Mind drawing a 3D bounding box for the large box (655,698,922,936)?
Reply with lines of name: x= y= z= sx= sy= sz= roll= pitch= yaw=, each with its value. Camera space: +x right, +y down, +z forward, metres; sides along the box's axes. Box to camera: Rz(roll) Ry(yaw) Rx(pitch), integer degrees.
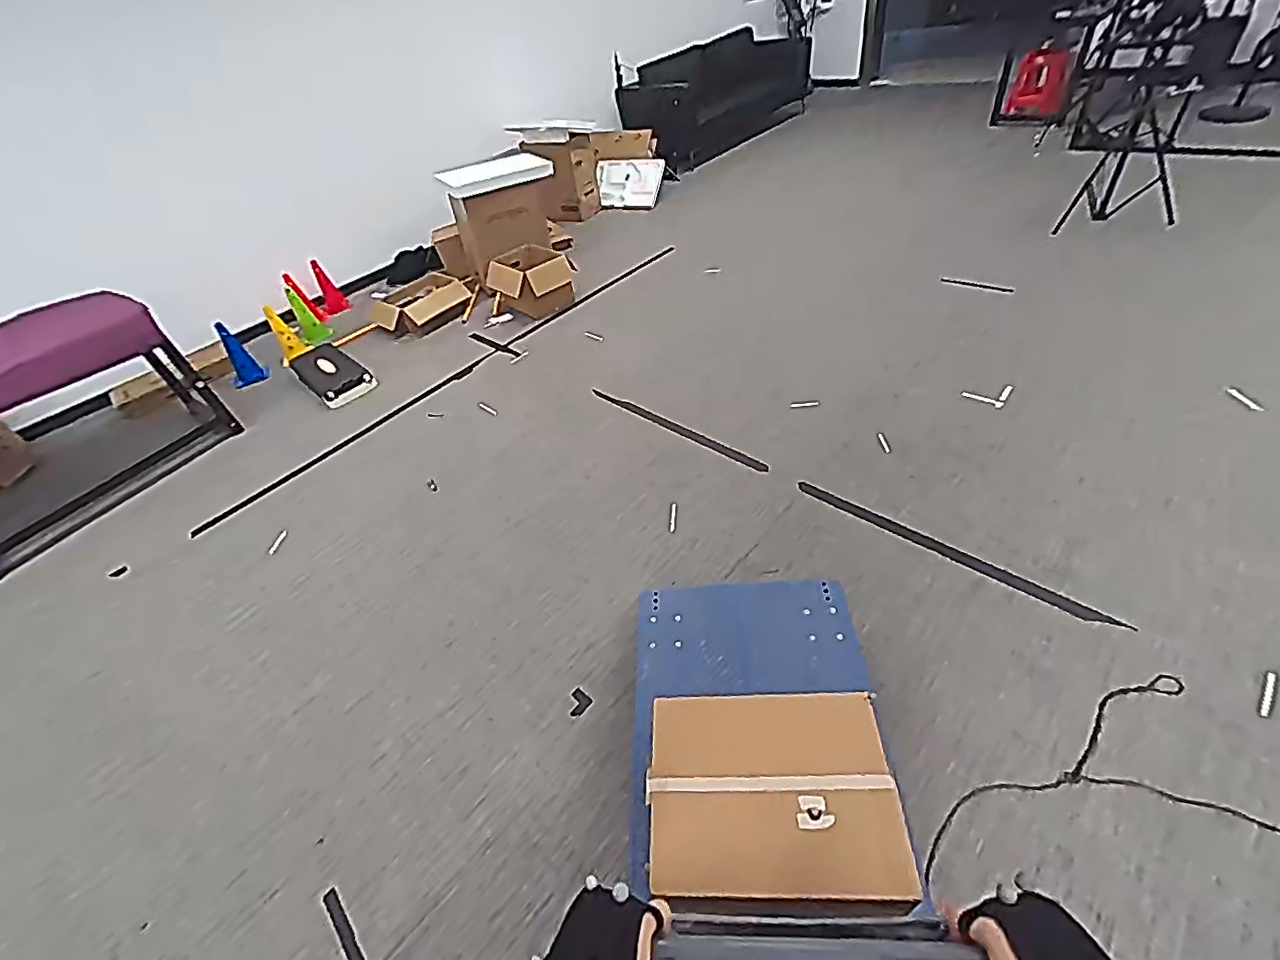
large box: x=0.241 y=0.635 z=1.018 sx=0.408 sy=0.320 sz=0.320 roll=-4 pitch=43 yaw=7
